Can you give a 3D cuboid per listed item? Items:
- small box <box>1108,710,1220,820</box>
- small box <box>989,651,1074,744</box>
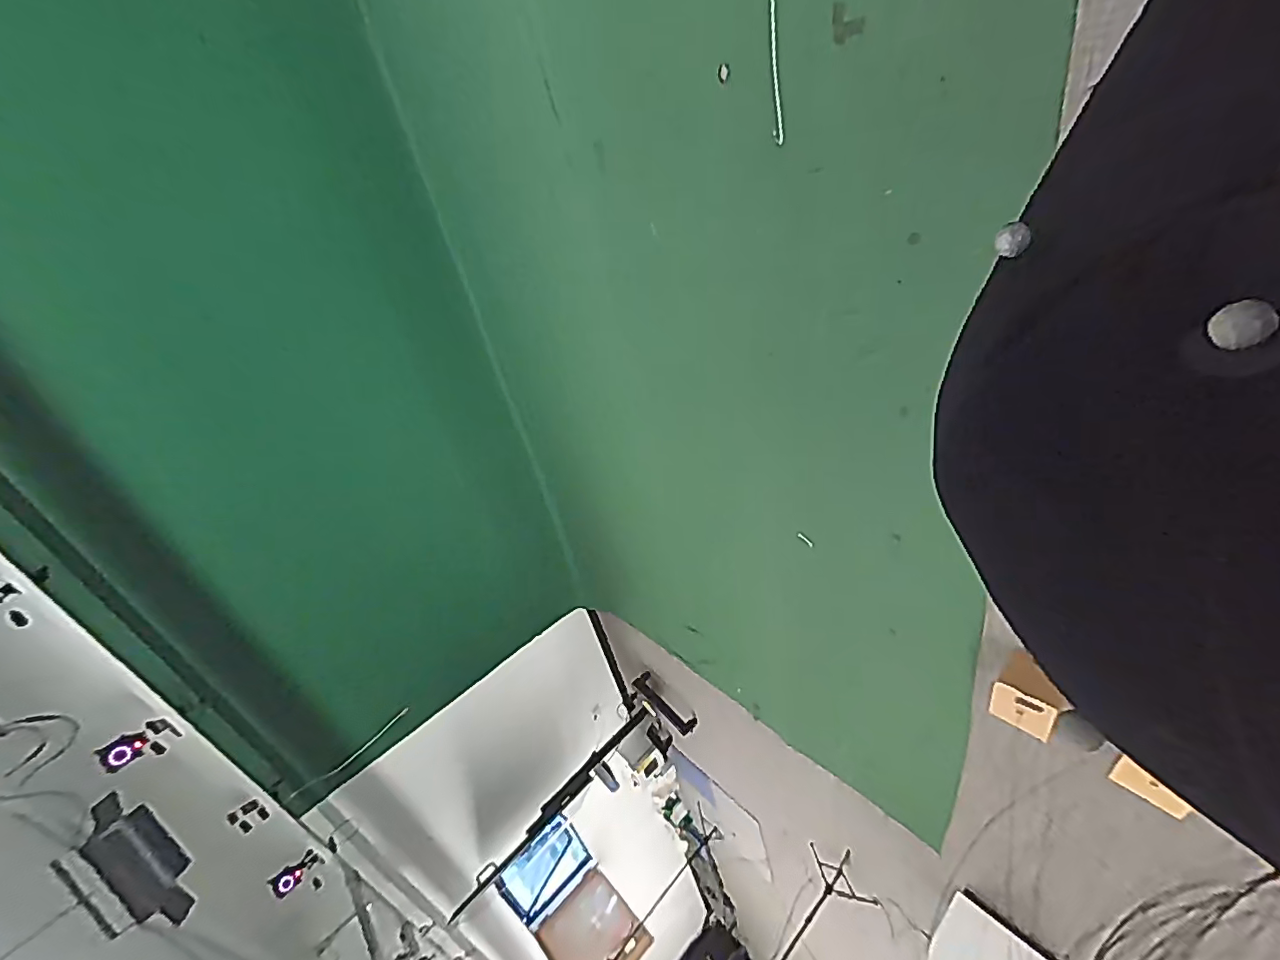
[{"bbox_3d":[1.457,0.787,1.504,0.168,0.176,0.179,29,141,41],"label":"small box"},{"bbox_3d":[1.247,0.684,1.721,0.168,0.176,0.179,24,139,45],"label":"small box"}]
